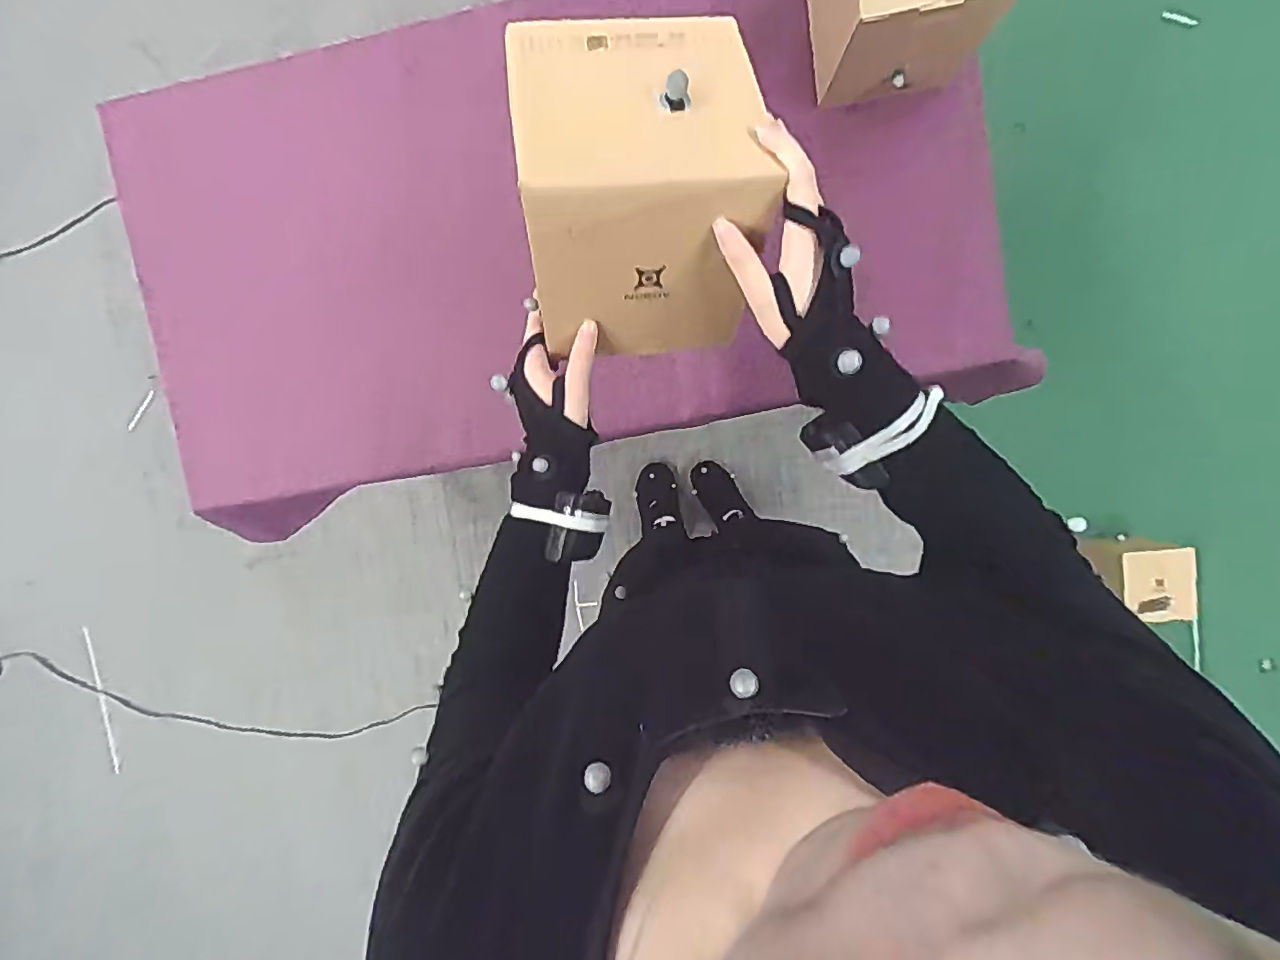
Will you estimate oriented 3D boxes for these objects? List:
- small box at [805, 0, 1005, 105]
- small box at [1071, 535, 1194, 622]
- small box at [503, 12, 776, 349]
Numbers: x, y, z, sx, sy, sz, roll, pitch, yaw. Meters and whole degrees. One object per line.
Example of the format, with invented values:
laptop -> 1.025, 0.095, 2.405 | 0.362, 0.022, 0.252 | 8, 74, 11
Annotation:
small box -> 0.292, -0.579, 0.620 | 0.168, 0.176, 0.179 | -7, 97, 5
small box -> 1.227, 0.243, 1.358 | 0.168, 0.176, 0.179 | -5, 93, 4
small box -> -0.011, -0.231, 0.431 | 0.168, 0.179, 0.176 | -6, 69, -5
